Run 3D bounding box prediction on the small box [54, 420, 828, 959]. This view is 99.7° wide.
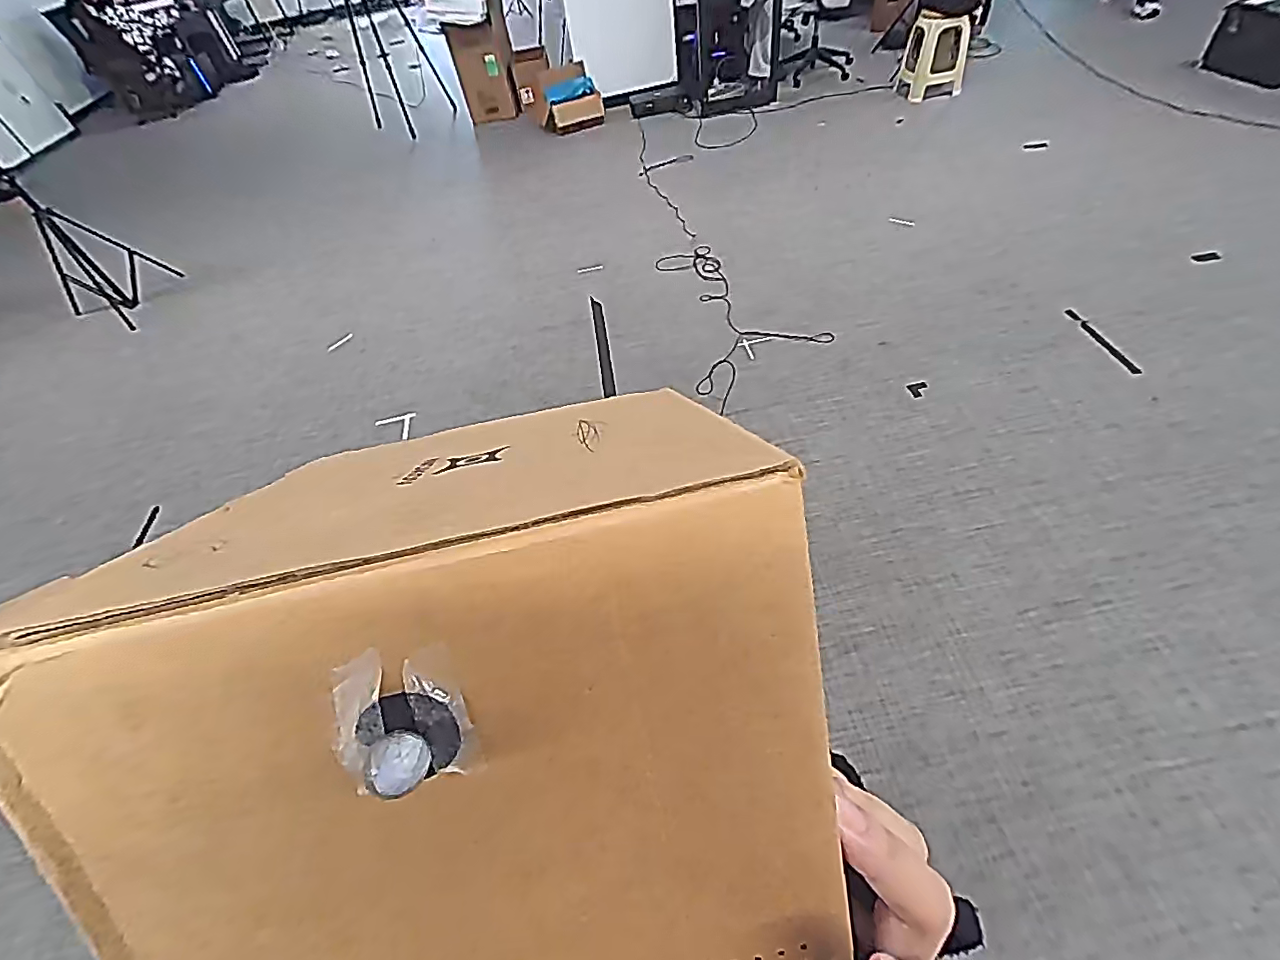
[{"bbox_3d":[-0.043,0.084,0.222,0.179,0.176,0.168,-12,16,-3],"label":"small box"}]
